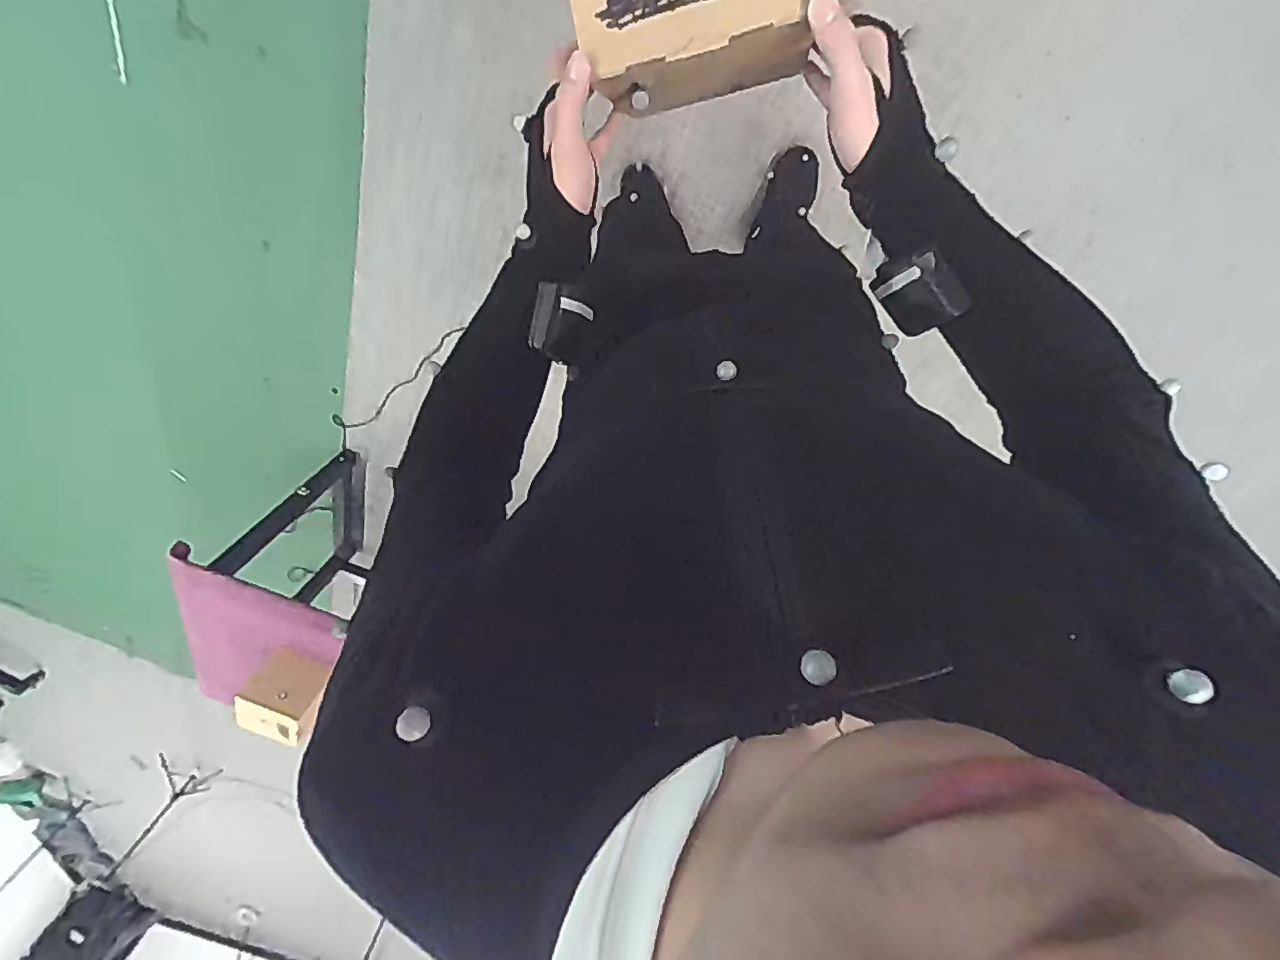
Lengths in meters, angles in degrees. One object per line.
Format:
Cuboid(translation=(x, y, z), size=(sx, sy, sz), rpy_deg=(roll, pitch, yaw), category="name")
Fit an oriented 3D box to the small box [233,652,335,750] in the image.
Cuboid(translation=(-0.984, 0.610, 1.505), size=(0.179, 0.176, 0.168), rpy_deg=(25, 125, -6), category="small box")
